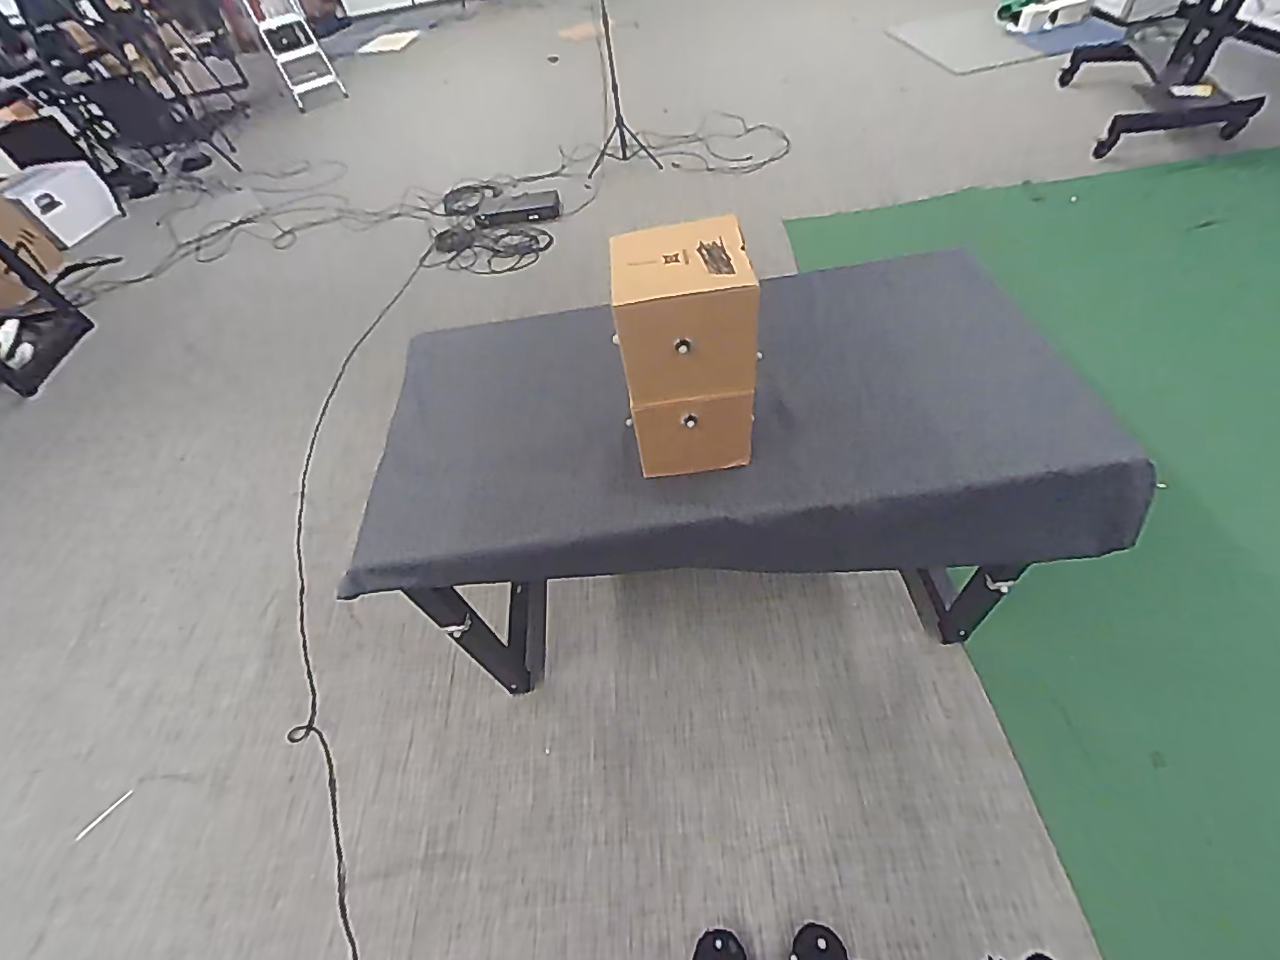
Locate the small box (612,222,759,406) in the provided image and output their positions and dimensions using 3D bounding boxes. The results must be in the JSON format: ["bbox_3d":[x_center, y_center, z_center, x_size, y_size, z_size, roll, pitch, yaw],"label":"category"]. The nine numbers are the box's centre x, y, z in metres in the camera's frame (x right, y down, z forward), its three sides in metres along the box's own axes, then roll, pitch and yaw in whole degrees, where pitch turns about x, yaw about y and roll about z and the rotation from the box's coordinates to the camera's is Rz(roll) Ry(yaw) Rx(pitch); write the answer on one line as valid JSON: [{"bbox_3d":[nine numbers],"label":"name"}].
[{"bbox_3d":[0.061,-0.222,0.746,0.179,0.176,0.168,-7,52,5],"label":"small box"}]

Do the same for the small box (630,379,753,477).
[{"bbox_3d":[0.079,-0.120,0.873,0.179,0.176,0.168,-7,52,3],"label":"small box"}]
